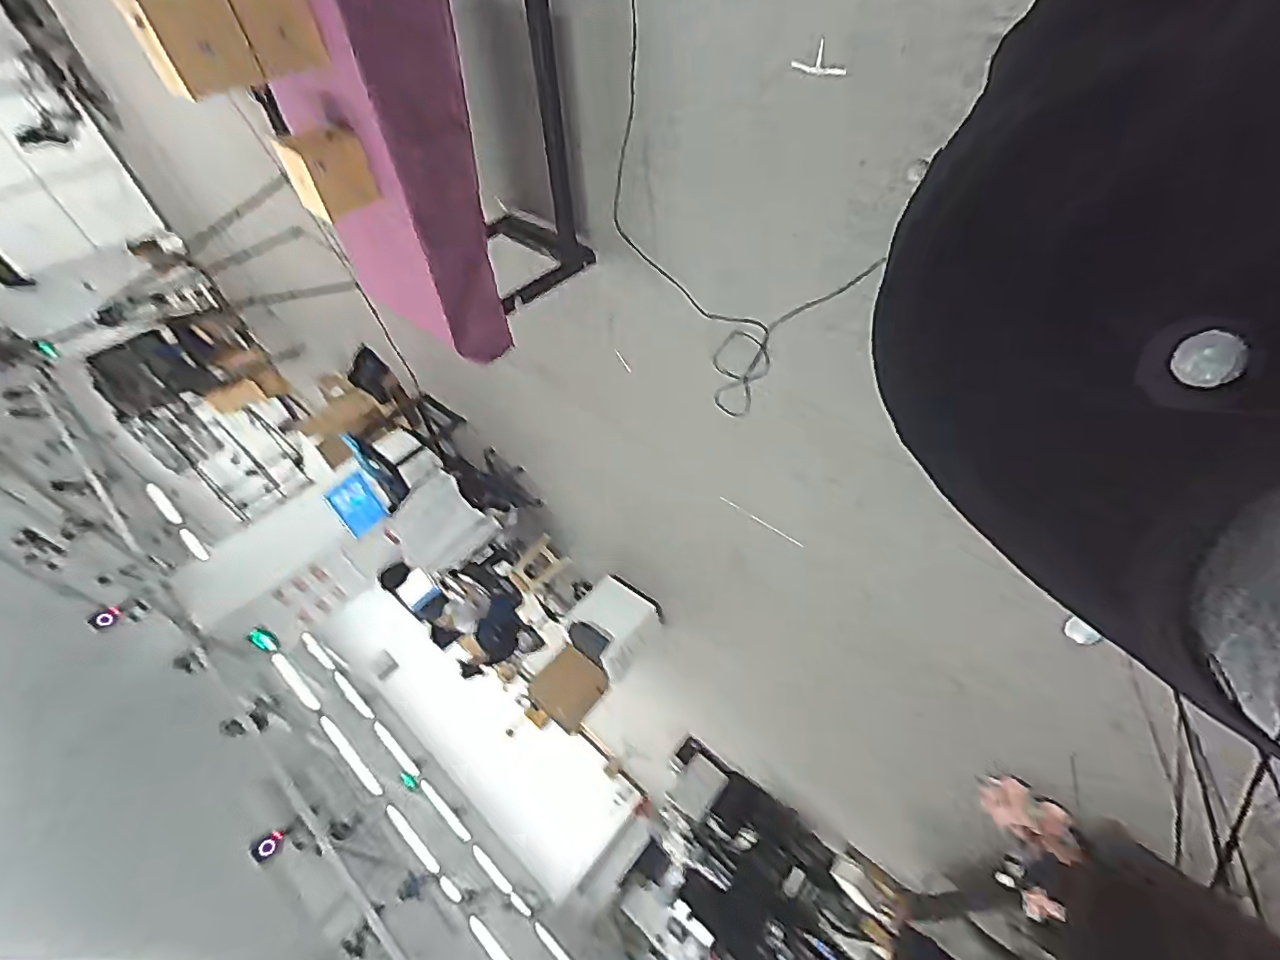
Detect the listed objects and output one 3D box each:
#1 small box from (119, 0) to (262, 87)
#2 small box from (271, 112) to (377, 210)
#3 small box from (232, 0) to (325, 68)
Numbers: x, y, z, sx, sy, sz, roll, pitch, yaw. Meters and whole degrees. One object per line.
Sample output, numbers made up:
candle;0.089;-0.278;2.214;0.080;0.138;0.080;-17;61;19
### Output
small box;-0.987;-0.999;1.185;0.168;0.176;0.179;33;150;27
small box;-0.878;-0.899;1.521;0.168;0.176;0.179;34;149;25
small box;-0.882;-1.099;1.262;0.168;0.176;0.179;32;149;27
